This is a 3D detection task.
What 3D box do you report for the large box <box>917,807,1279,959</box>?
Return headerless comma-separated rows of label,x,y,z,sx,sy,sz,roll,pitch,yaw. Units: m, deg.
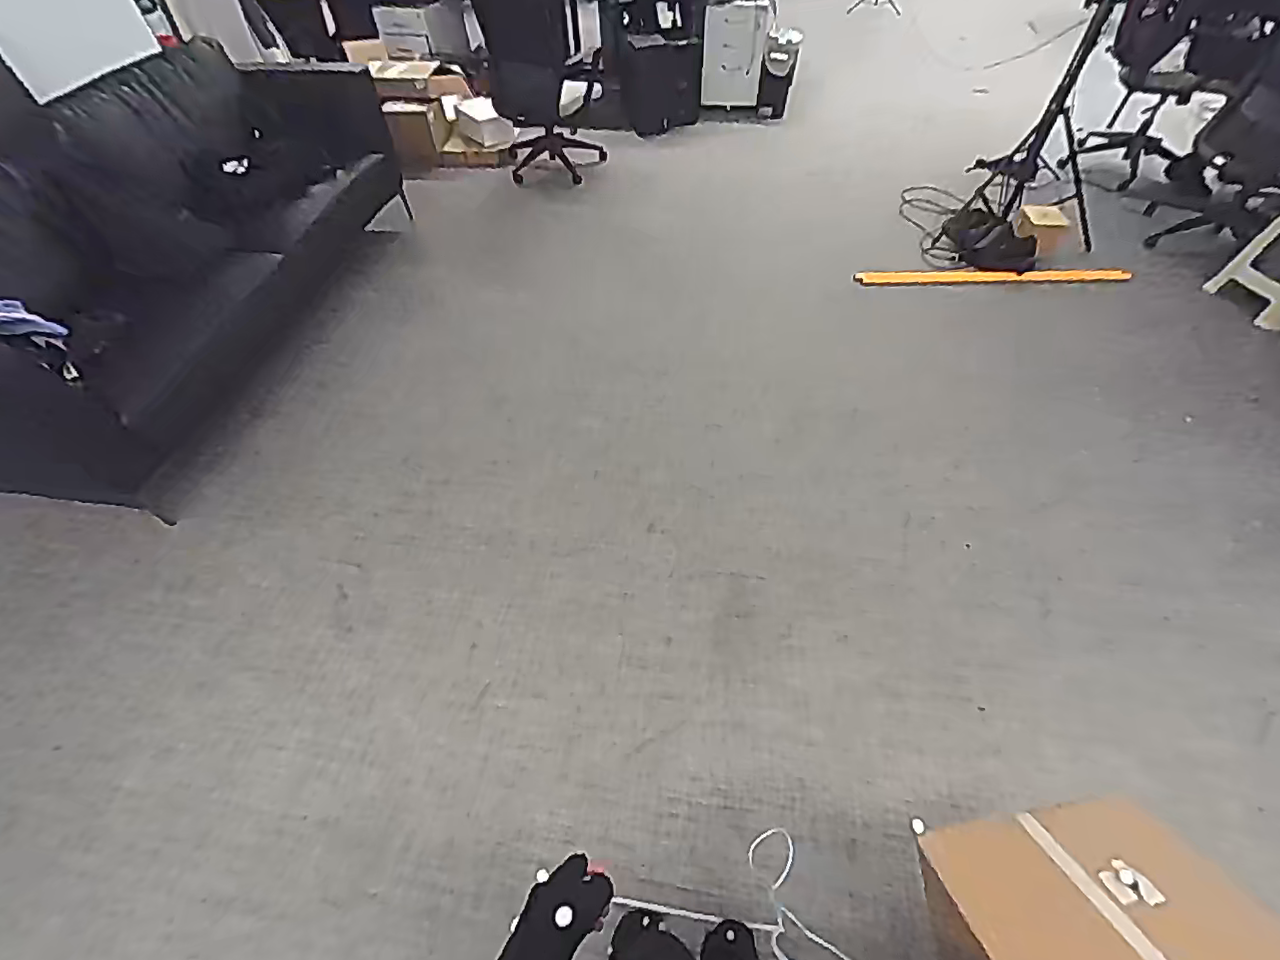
large box,0.596,0.686,0.625,0.320,0.320,0.408,-13,7,2
